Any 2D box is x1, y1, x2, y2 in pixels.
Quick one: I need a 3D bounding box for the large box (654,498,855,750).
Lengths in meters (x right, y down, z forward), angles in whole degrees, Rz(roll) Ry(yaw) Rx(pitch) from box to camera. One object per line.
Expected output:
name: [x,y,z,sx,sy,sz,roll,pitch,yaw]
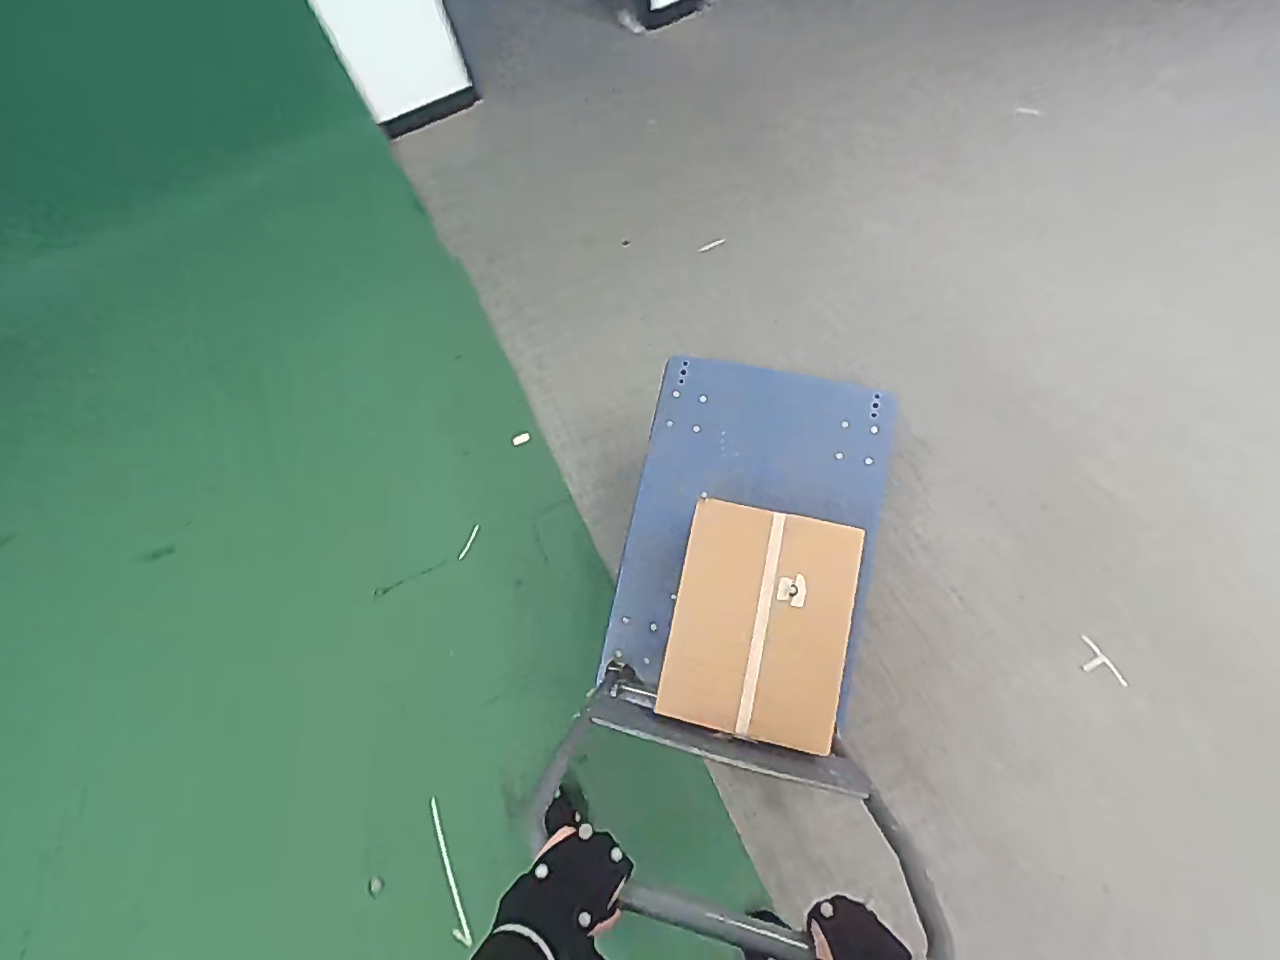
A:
large box: [0.229,0.283,1.138,0.320,0.320,0.408,12,81,8]
